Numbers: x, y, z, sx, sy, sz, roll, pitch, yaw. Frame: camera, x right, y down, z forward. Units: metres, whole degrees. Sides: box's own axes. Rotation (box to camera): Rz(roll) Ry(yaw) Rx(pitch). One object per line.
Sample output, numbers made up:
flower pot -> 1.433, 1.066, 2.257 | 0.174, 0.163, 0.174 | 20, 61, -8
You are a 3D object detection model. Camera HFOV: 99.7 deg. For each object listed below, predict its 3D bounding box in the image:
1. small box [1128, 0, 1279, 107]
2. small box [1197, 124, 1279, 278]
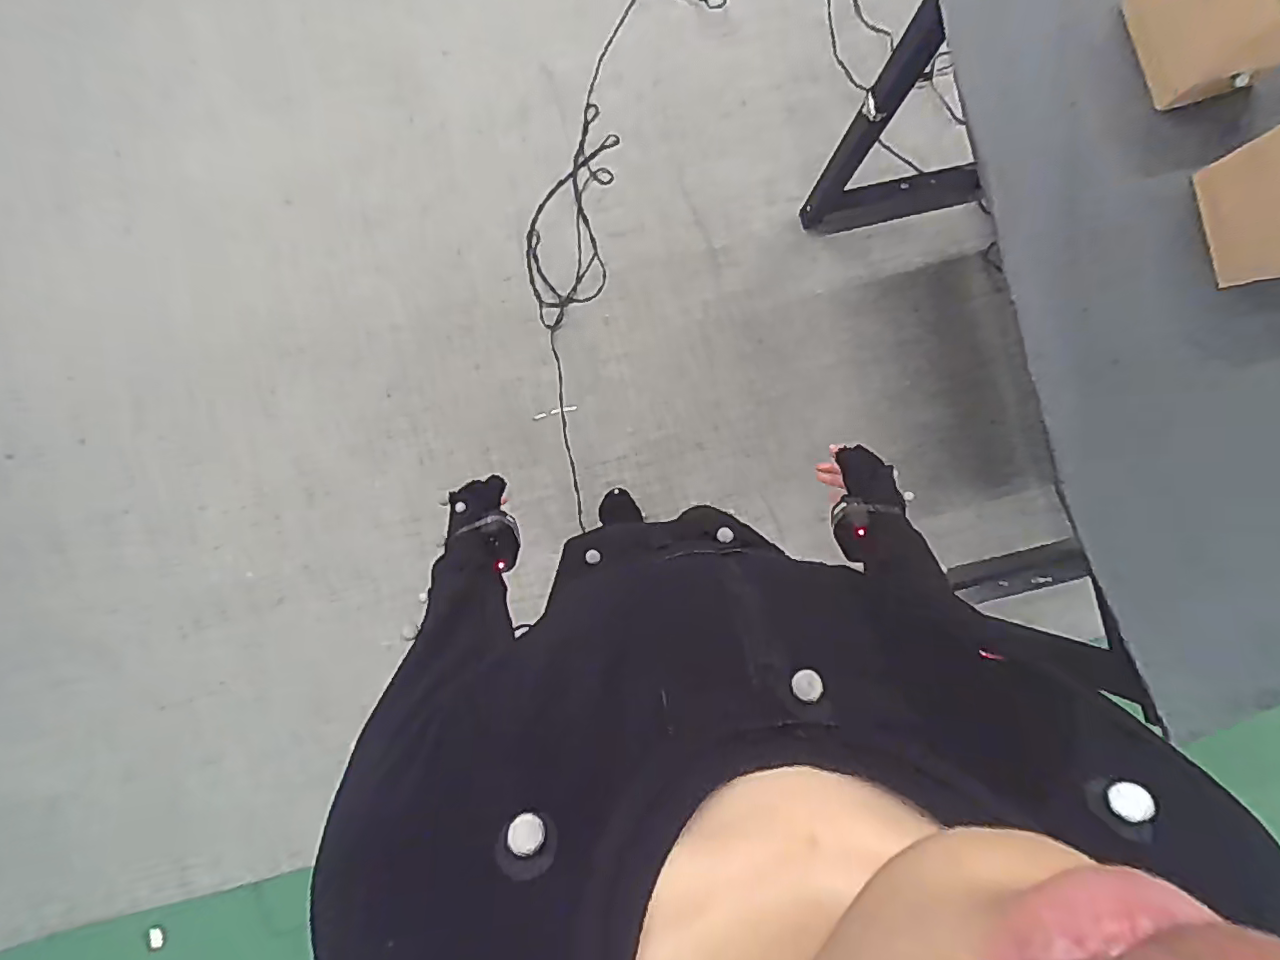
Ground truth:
small box -> 0.823, -0.660, 0.730 | 0.168, 0.176, 0.179 | -17, 88, -2
small box -> 0.916, -0.388, 0.718 | 0.168, 0.176, 0.179 | -11, 87, -2
